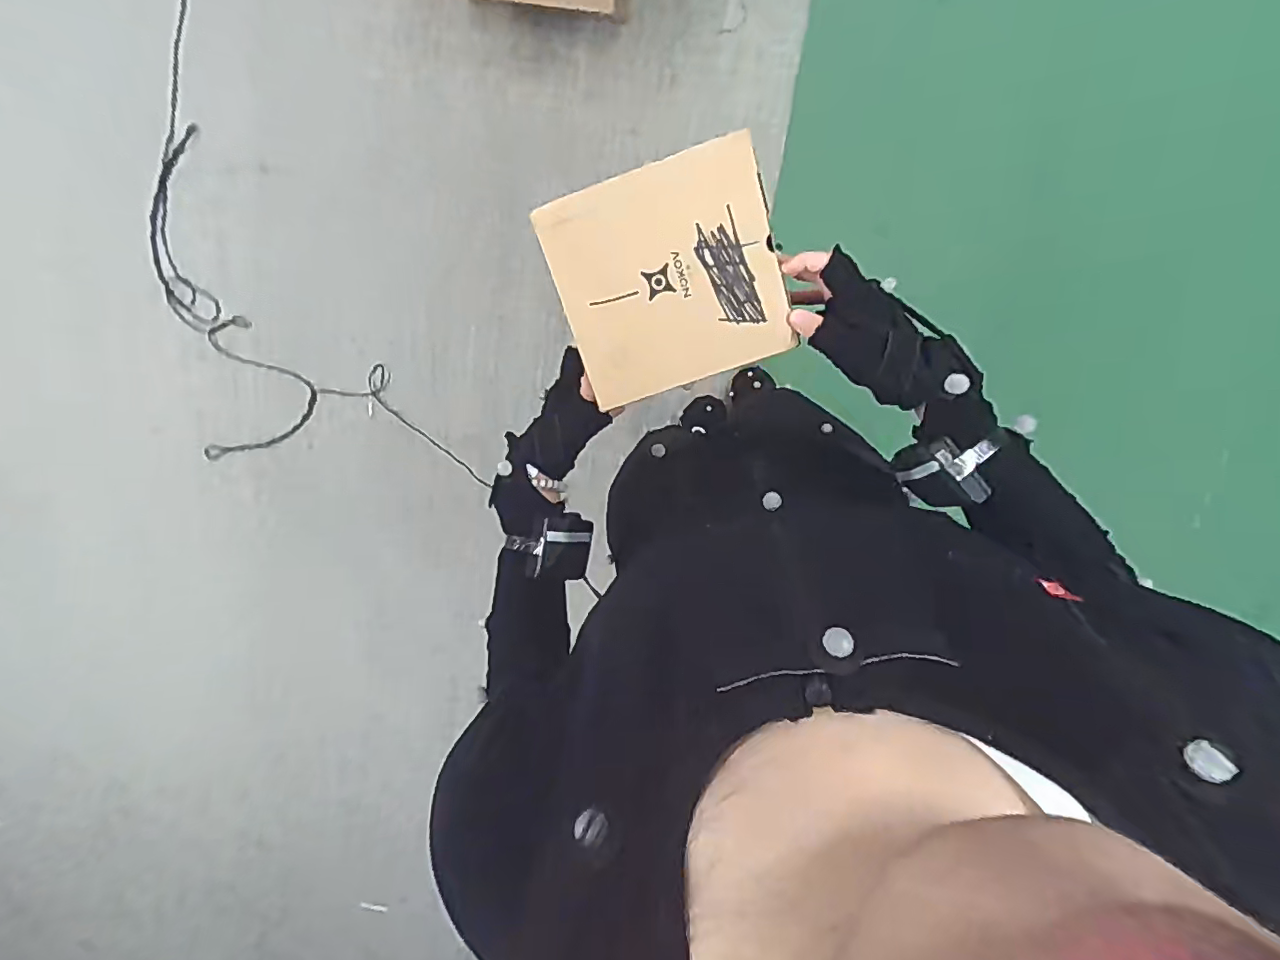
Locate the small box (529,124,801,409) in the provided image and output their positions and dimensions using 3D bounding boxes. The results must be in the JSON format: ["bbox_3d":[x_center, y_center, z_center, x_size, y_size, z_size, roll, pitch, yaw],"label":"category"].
[{"bbox_3d":[0.023,-0.182,0.492,0.179,0.176,0.168,-18,107,7],"label":"small box"}]
